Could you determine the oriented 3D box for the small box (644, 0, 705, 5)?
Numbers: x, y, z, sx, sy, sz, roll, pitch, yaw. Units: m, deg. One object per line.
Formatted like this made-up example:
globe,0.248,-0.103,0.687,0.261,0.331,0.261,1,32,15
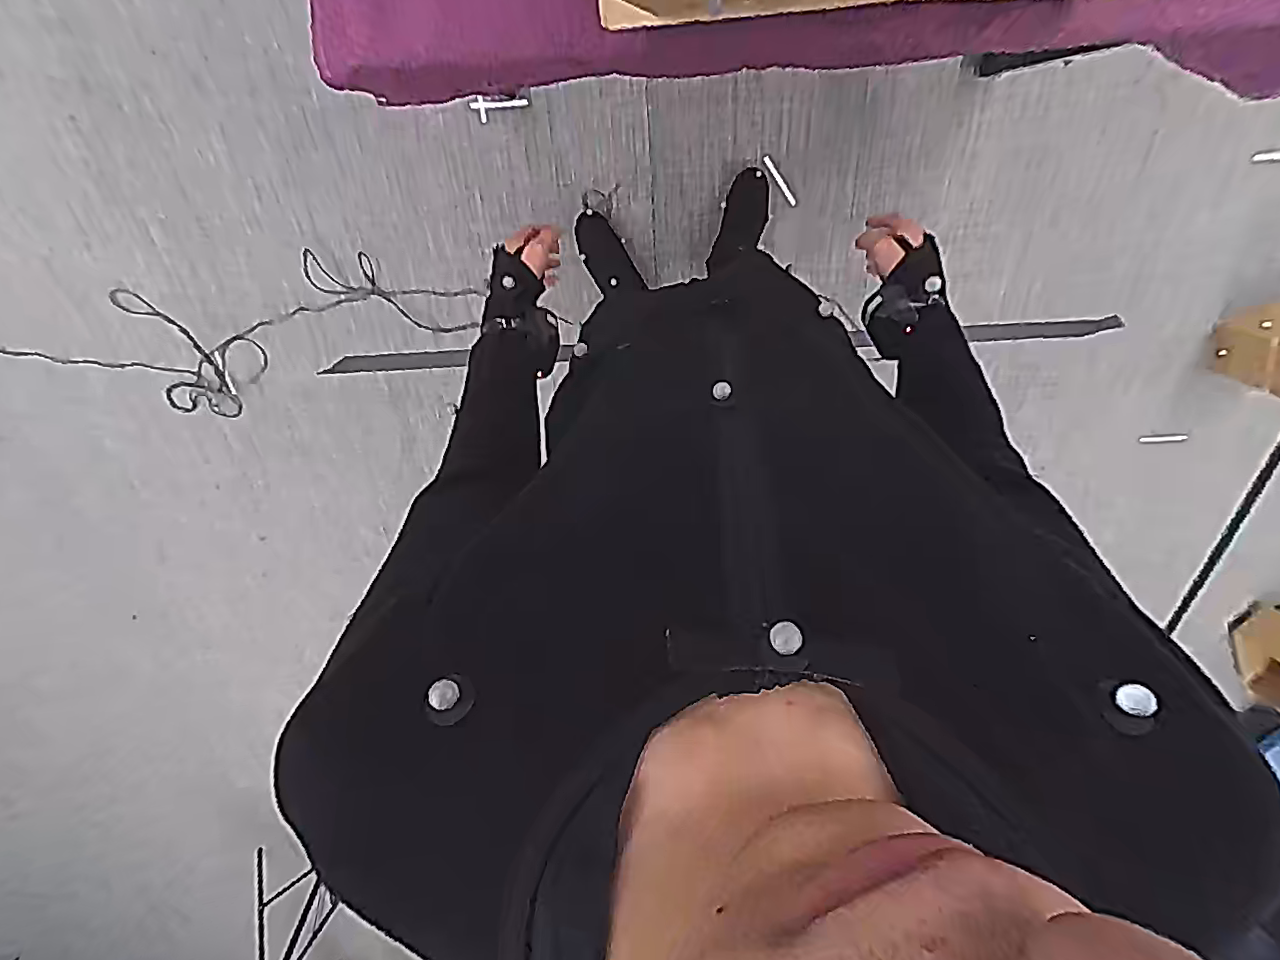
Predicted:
small box,0.056,-0.499,0.422,0.168,0.176,0.179,7,125,18
